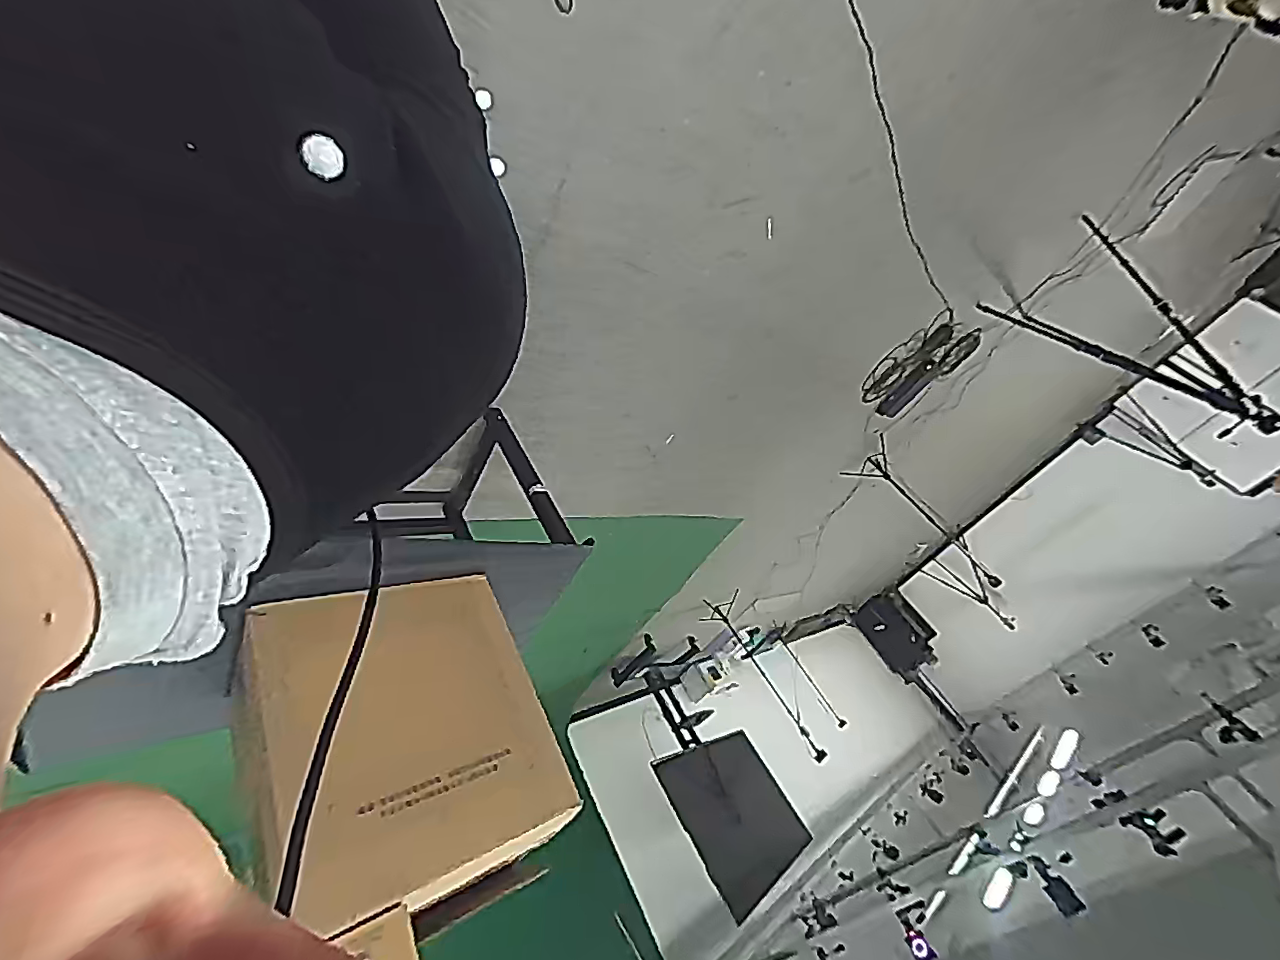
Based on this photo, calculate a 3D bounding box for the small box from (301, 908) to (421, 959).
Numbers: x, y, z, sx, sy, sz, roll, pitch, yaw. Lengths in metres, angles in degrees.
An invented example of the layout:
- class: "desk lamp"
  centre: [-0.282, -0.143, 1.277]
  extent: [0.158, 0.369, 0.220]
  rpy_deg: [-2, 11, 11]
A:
- class: "small box"
  centre: [-0.446, 0.827, 0.855]
  extent: [0.168, 0.176, 0.179]
  rpy_deg: [0, 134, -43]
